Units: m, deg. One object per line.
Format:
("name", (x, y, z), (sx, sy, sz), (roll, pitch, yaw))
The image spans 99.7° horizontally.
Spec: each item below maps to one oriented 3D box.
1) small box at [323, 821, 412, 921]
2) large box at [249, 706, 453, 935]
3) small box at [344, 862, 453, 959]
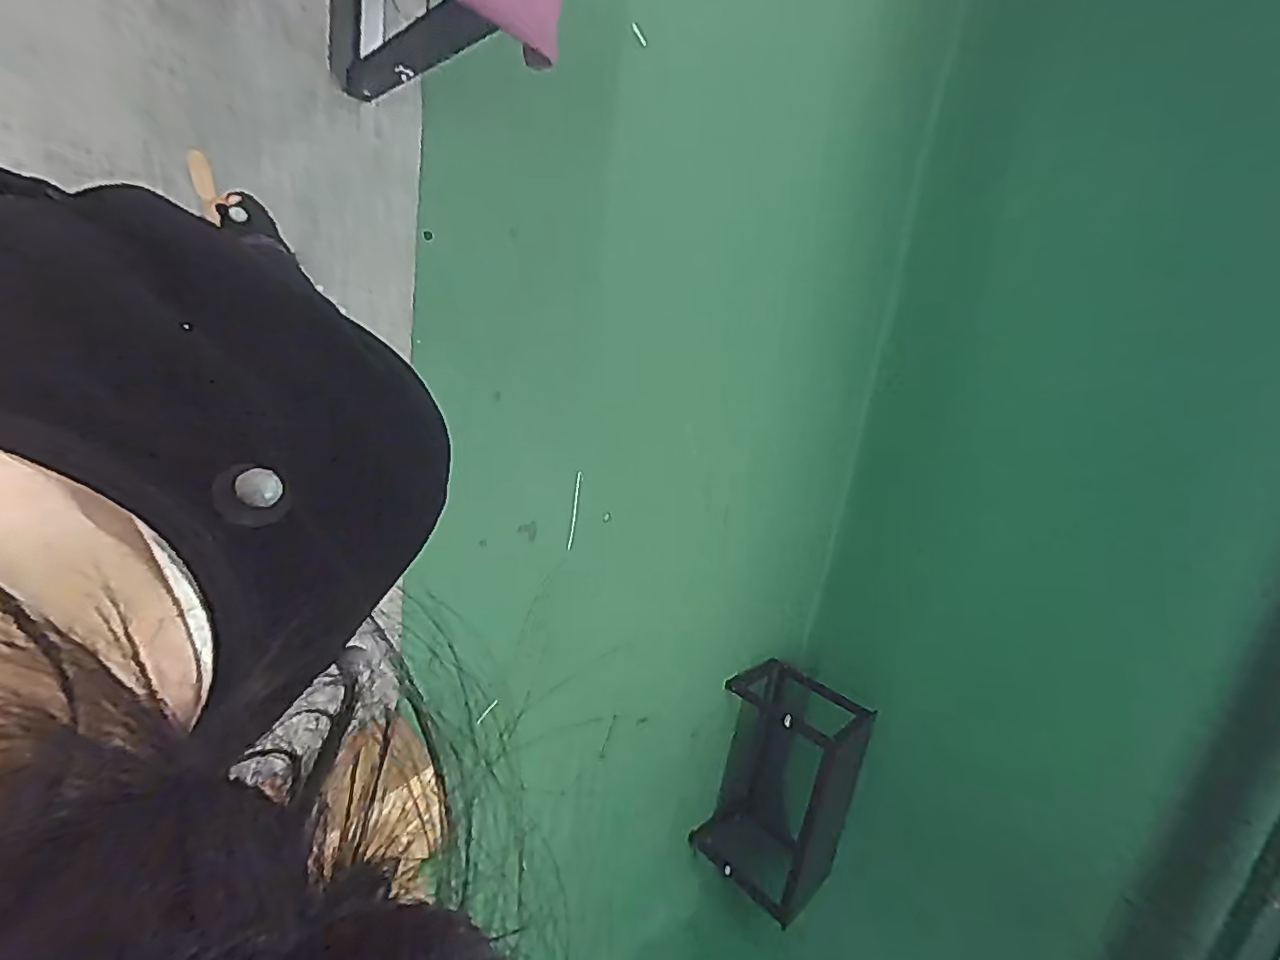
("small box", (-0.687, 1.023, 1.386), (0.168, 0.176, 0.179), (-22, 120, -40))
("large box", (-0.829, 0.959, 1.579), (0.408, 0.320, 0.320), (-24, 123, -41))
("small box", (-0.573, 1.068, 1.276), (0.179, 0.176, 0.168), (-24, 121, -39))
